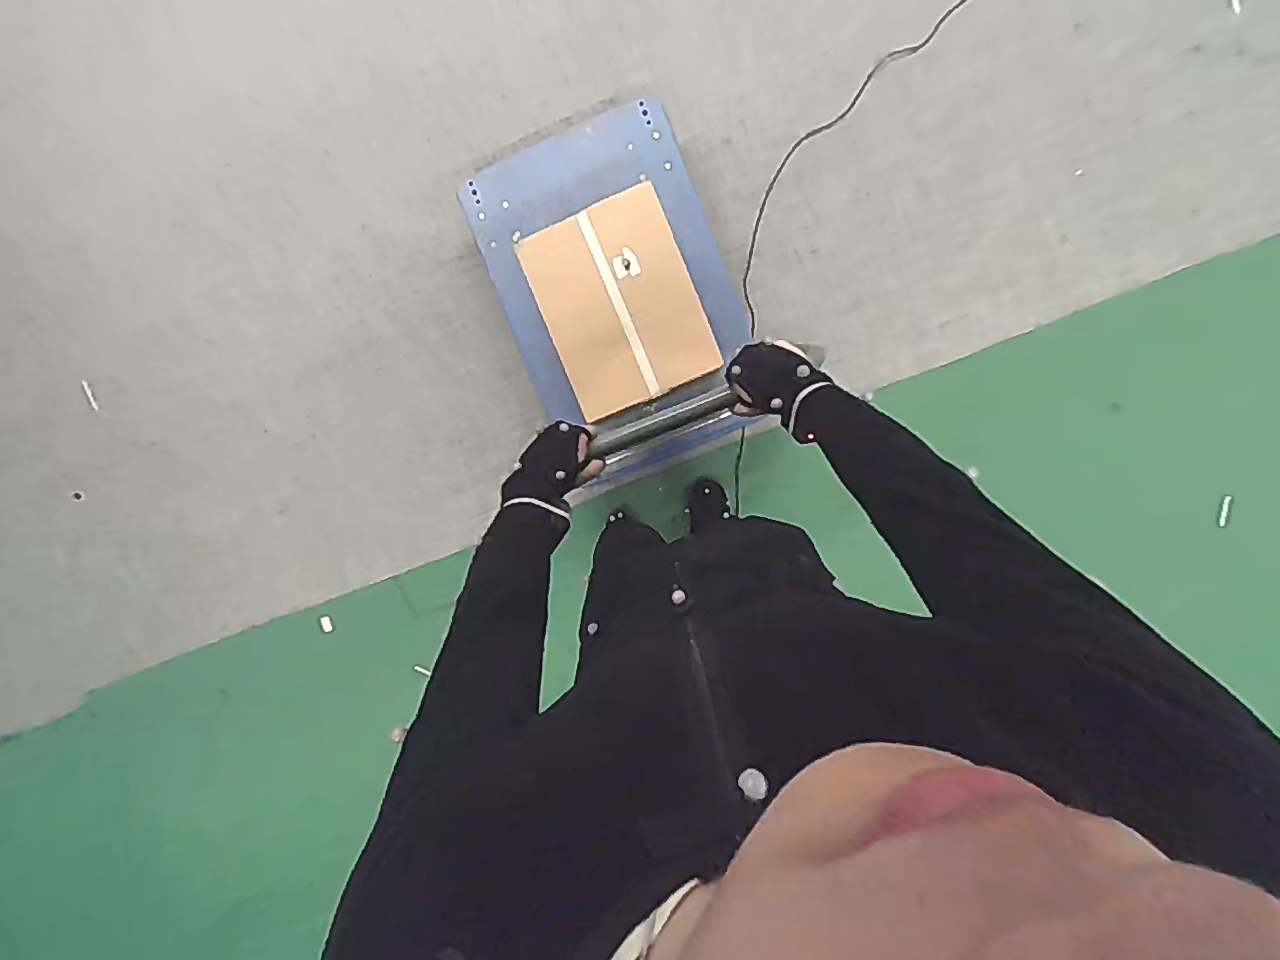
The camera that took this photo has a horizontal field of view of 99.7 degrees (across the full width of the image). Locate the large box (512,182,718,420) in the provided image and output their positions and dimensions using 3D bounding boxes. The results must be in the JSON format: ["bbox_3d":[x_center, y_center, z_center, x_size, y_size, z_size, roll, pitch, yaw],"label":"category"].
[{"bbox_3d":[-0.040,-0.384,1.273,0.320,0.320,0.408,-23,93,5],"label":"large box"}]
